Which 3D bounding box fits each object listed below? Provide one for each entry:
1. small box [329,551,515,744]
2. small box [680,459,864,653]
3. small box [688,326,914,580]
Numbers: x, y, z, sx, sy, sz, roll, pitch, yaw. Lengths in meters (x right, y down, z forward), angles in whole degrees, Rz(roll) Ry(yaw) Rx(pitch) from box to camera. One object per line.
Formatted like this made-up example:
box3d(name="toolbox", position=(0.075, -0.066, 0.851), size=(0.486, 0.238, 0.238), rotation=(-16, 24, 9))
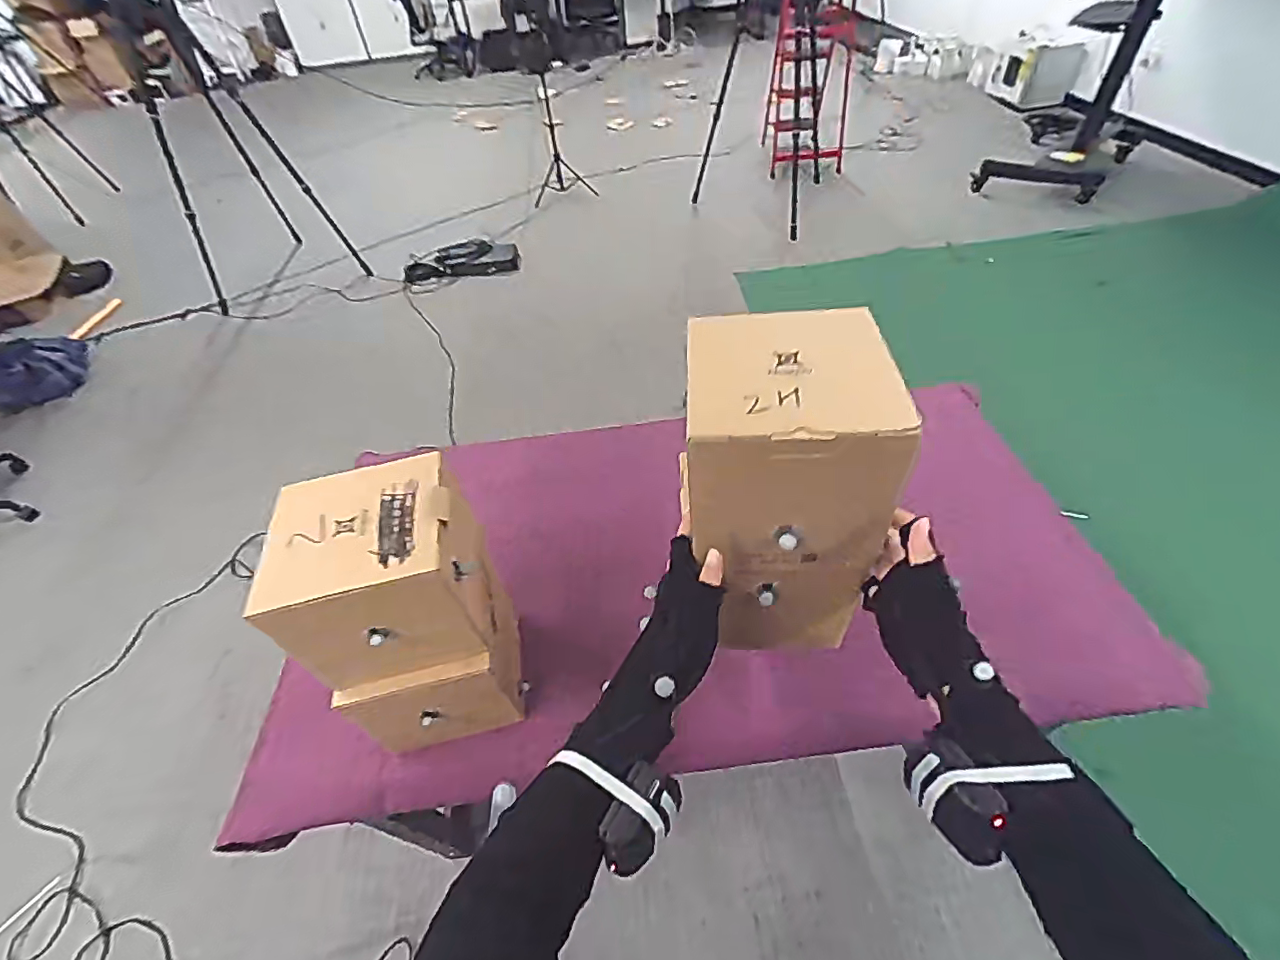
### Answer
box3d(name="small box", position=(-0.267, 0.221, 0.708), size=(0.179, 0.176, 0.168), rotation=(-12, 48, -5))
box3d(name="small box", position=(0.136, 0.089, 0.631), size=(0.179, 0.176, 0.168), rotation=(-2, 46, 5))
box3d(name="small box", position=(0.130, -0.027, 0.513), size=(0.168, 0.176, 0.179), rotation=(0, 46, 6))
